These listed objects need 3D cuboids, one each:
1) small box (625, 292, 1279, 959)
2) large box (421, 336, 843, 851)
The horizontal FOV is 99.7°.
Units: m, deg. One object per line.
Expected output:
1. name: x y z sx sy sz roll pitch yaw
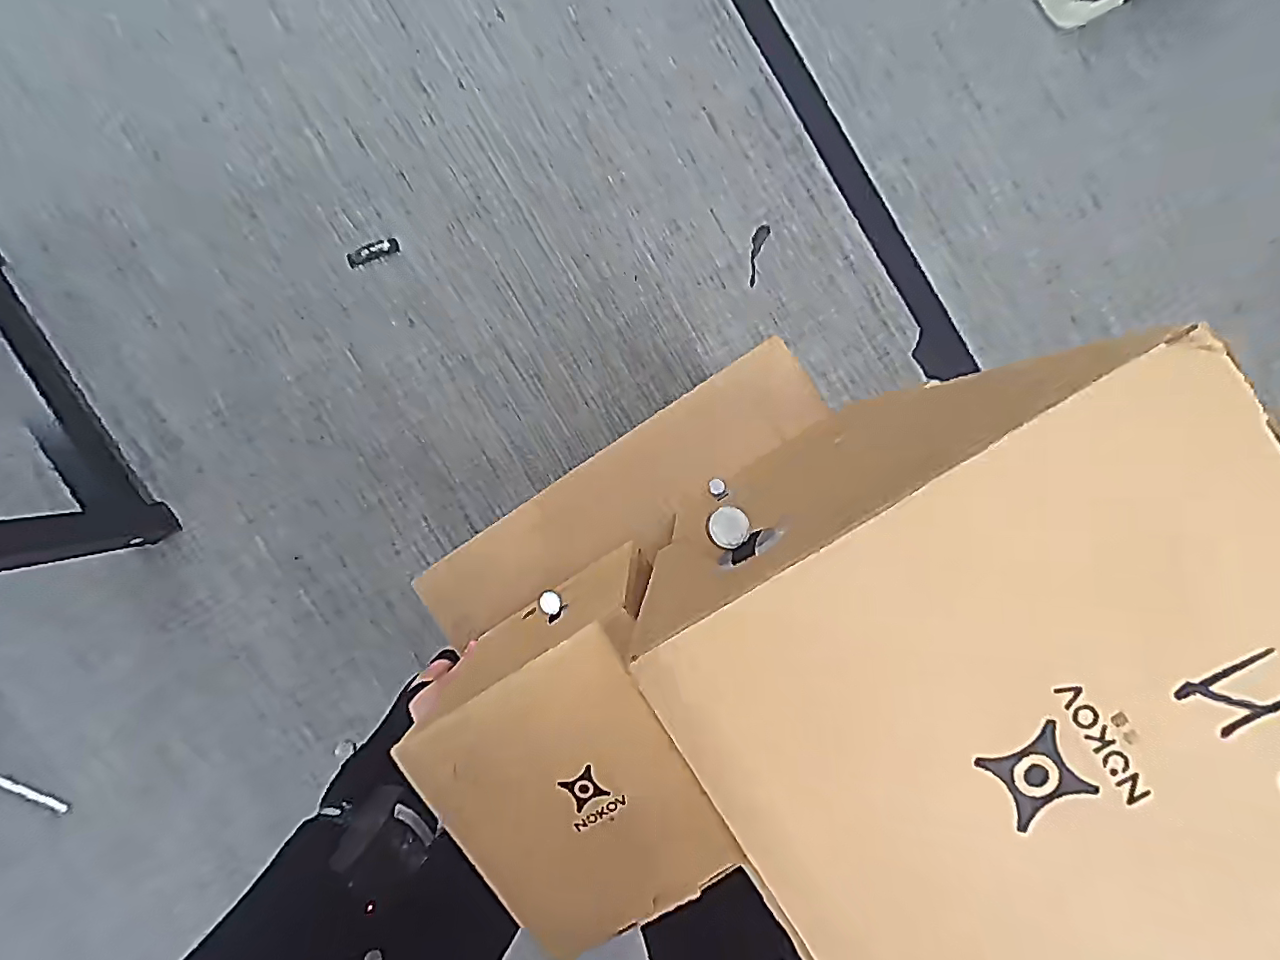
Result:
1. small box: 0.117 0.064 0.214 0.179 0.176 0.168 -33 90 6
2. large box: 0.053 0.100 0.629 0.408 0.320 0.320 -34 89 5
